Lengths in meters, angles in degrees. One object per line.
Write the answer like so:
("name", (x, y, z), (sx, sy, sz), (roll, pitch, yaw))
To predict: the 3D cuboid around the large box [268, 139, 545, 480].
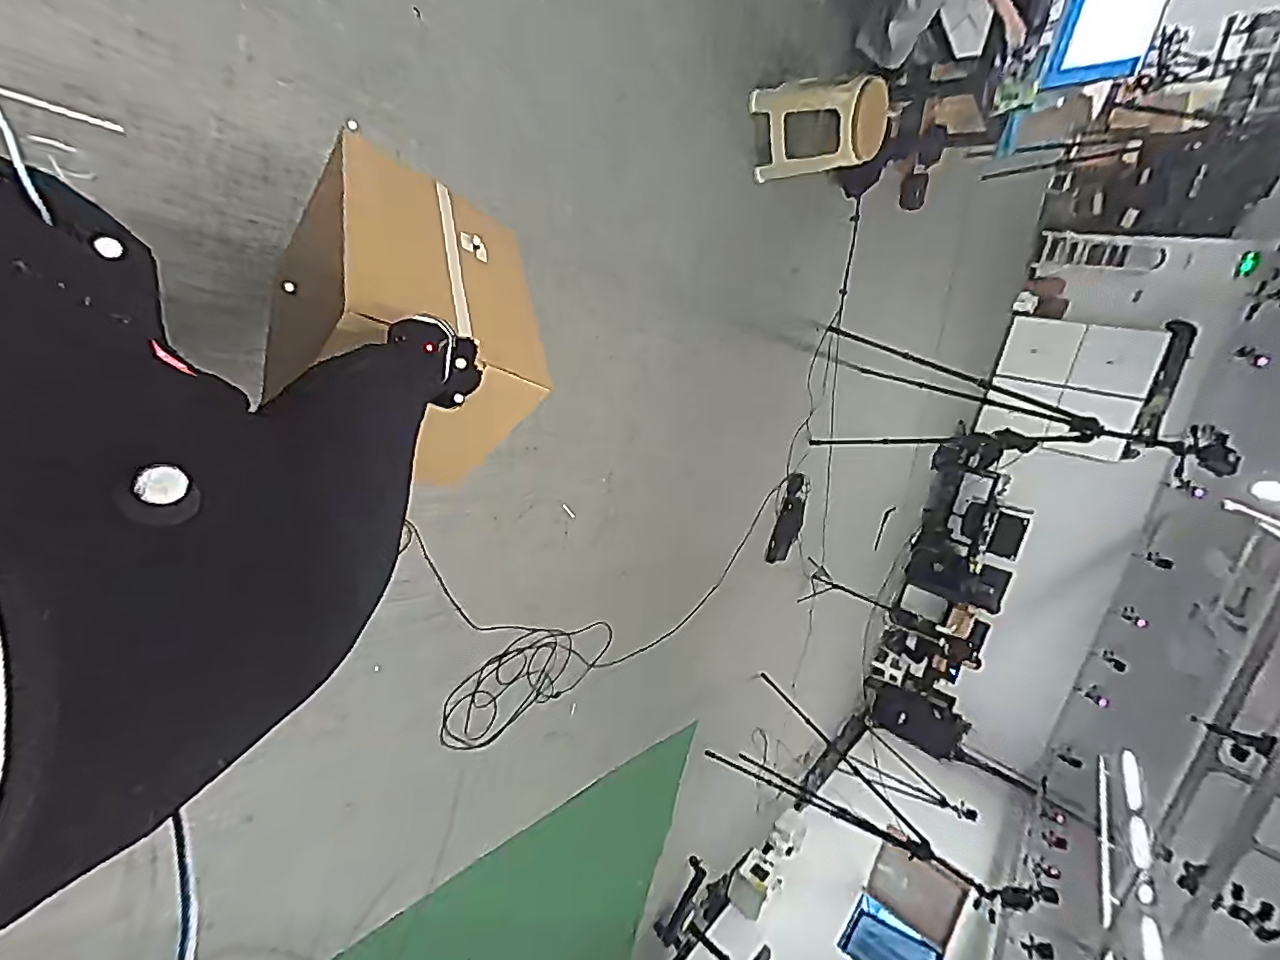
("large box", (-0.411, -0.260, 0.928), (0.320, 0.408, 0.320), (-37, 146, 30))
